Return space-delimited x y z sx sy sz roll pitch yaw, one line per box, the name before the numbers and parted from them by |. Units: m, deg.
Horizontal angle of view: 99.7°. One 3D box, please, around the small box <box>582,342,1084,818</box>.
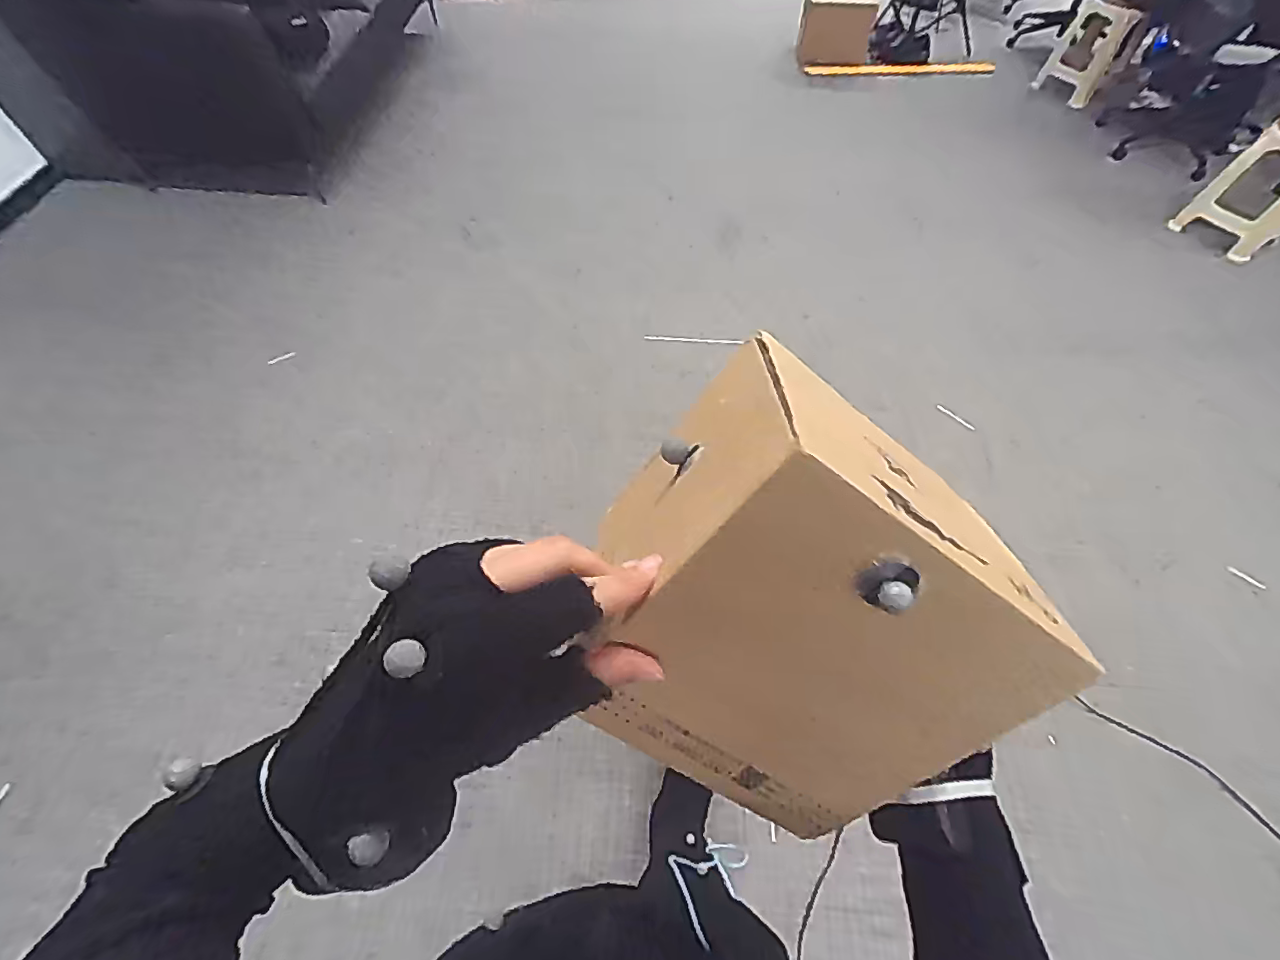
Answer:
small box | 0.085 0.051 0.321 0.168 0.176 0.179 34 26 -12
